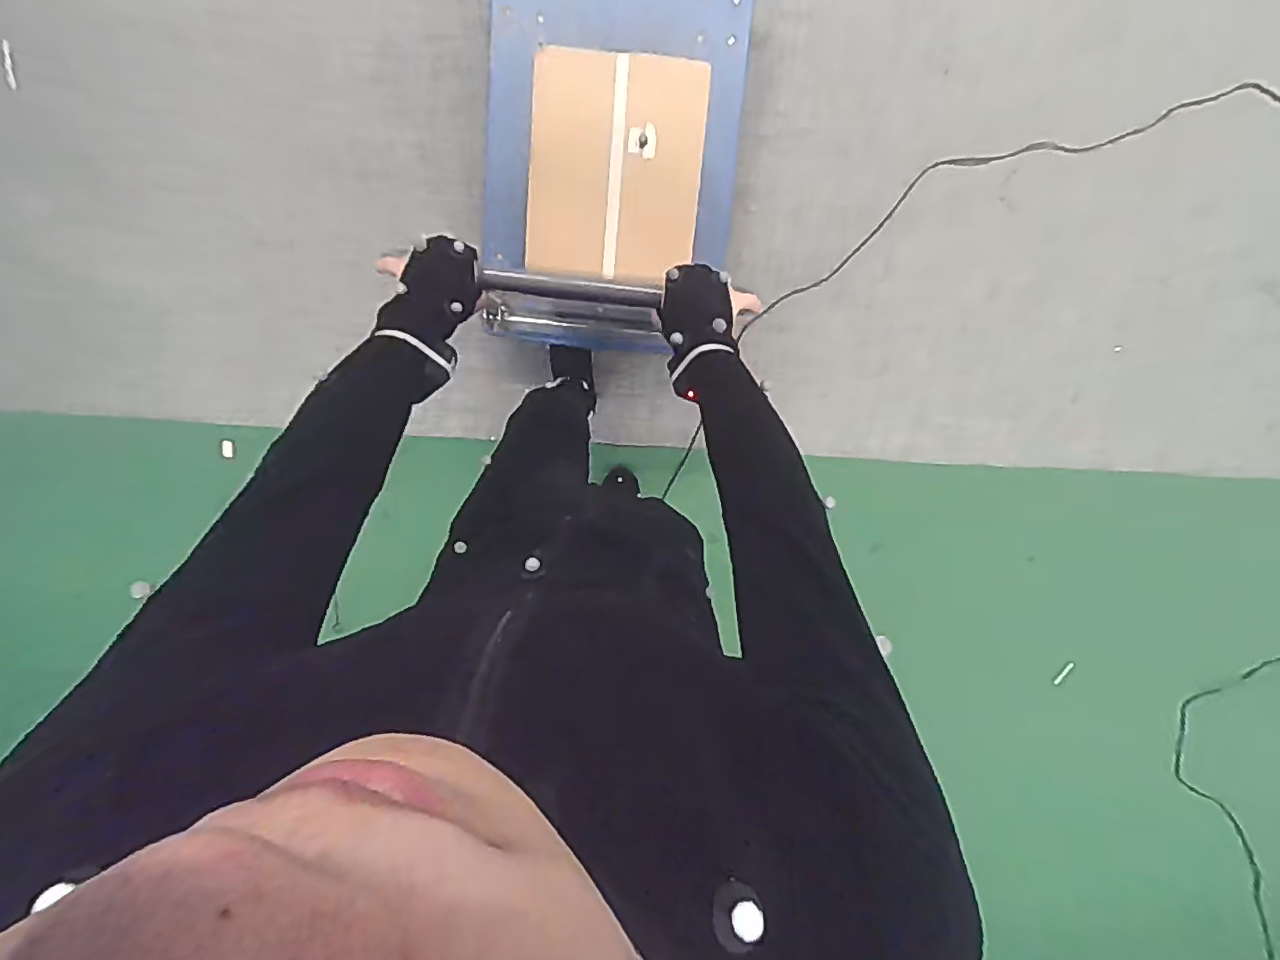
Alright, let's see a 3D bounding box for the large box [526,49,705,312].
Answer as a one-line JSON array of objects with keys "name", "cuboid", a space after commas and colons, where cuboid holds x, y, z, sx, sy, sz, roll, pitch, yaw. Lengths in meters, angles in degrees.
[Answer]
[{"name": "large box", "cuboid": [-0.052, -0.582, 1.137, 0.320, 0.320, 0.408, 4, 102, -3]}]
